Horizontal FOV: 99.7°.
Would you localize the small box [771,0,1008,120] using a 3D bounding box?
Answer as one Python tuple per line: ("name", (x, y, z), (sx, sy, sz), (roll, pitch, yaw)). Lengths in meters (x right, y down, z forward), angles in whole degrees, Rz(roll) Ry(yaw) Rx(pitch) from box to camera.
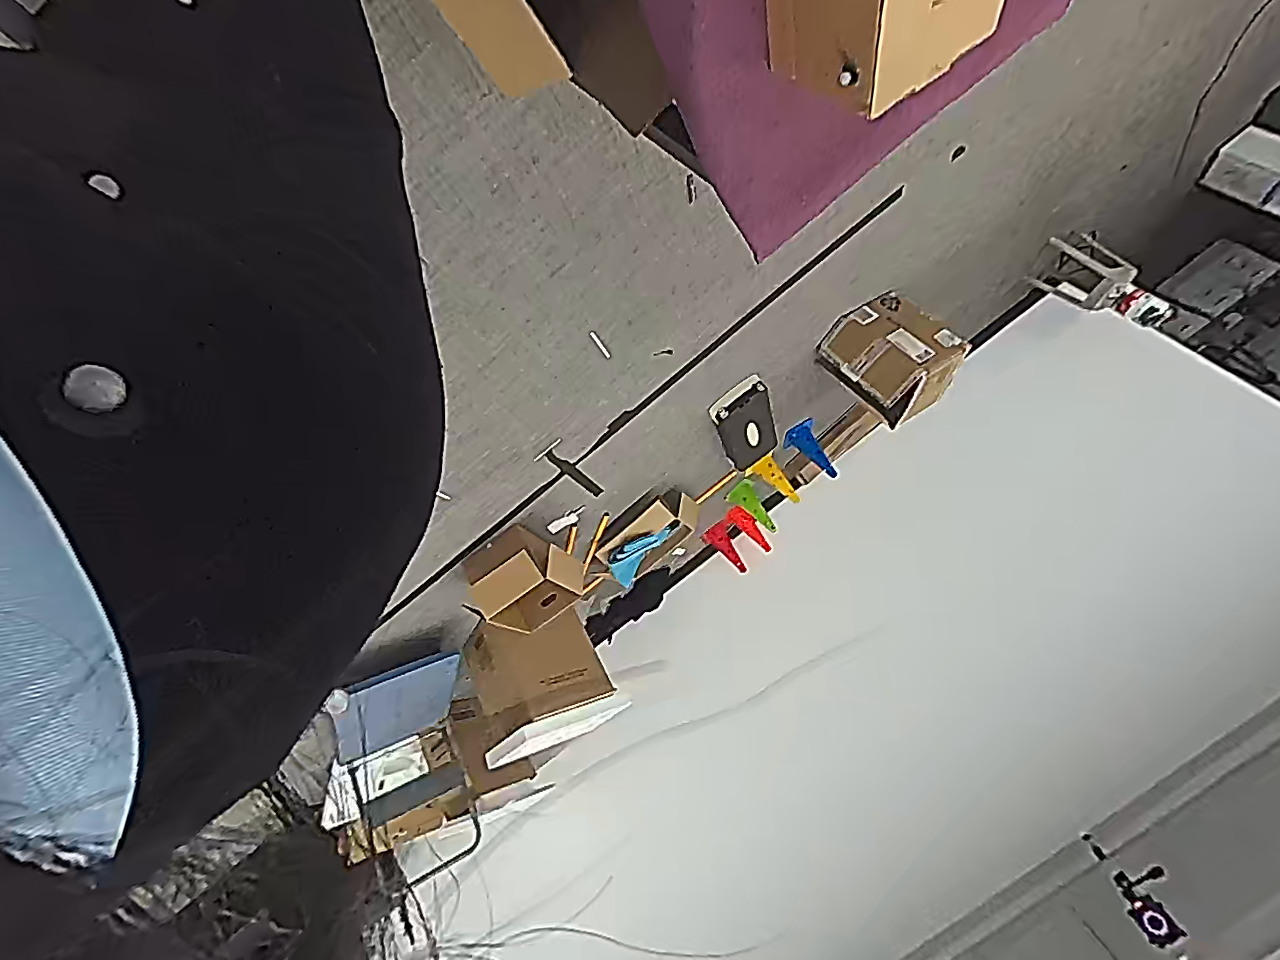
("small box", (0.241, -0.508, 0.525), (0.168, 0.176, 0.179), (-36, 152, -1))
